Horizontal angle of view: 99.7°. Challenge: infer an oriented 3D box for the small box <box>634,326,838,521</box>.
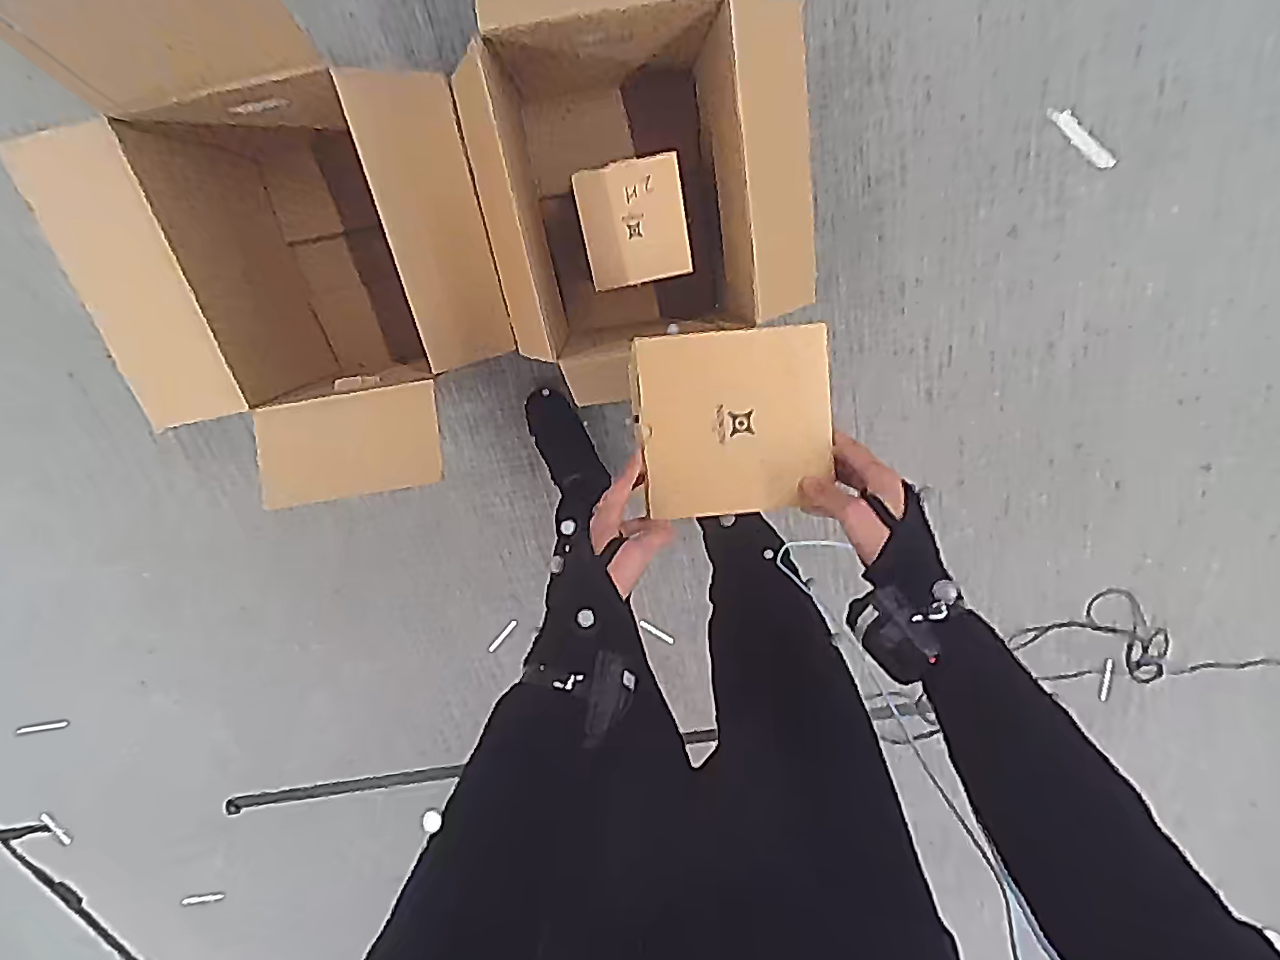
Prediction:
[{"bbox_3d":[0.087,-0.059,0.561,0.179,0.176,0.168,-5,97,0],"label":"small box"}]
